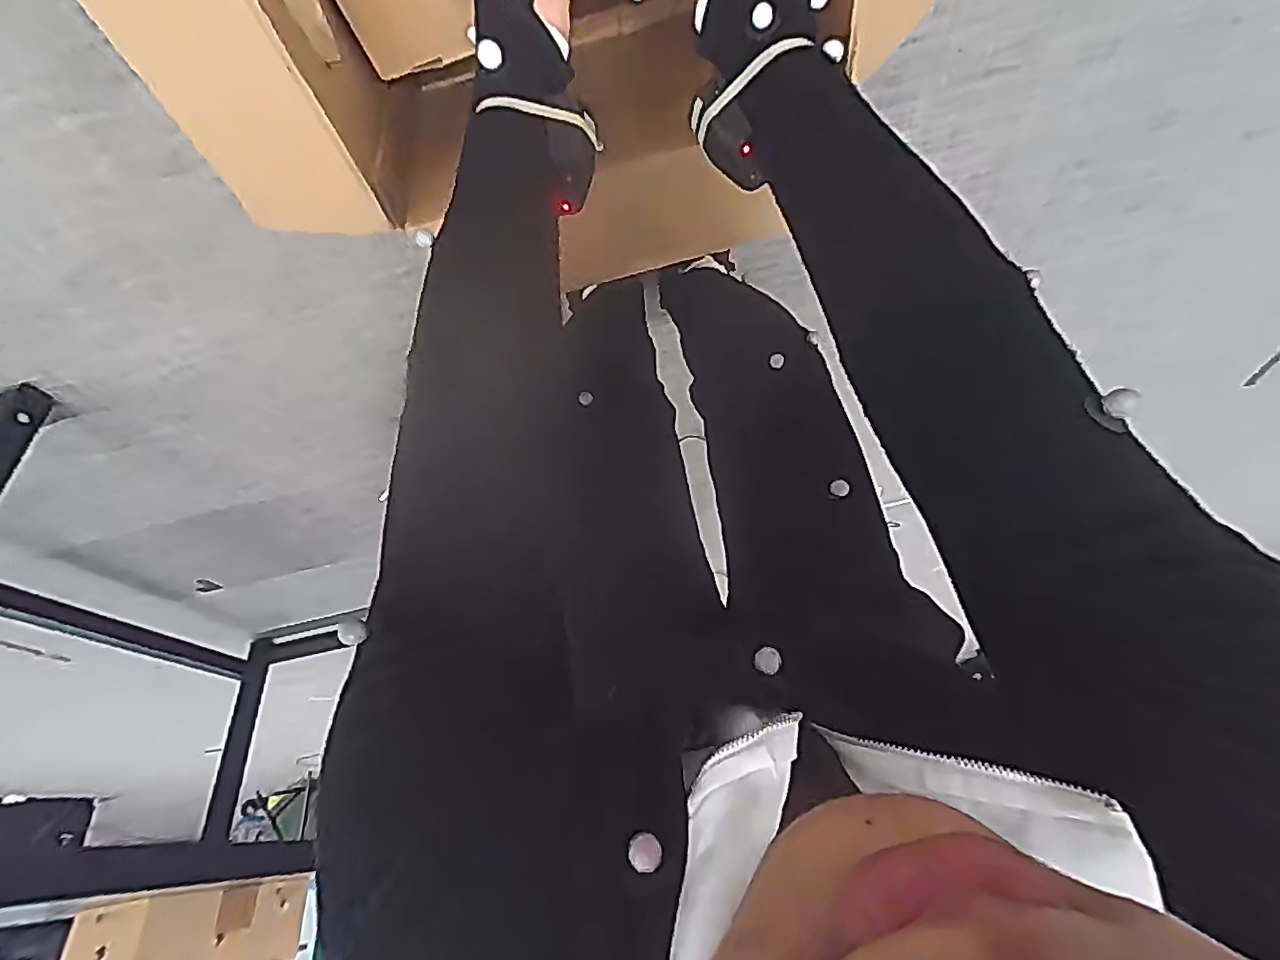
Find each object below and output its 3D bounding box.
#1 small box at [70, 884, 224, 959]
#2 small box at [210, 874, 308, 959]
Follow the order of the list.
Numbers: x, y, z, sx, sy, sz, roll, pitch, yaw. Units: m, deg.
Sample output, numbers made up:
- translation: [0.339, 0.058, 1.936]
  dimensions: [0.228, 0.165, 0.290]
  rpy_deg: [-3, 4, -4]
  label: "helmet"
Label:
- translation: [-1.010, 0.945, 1.103]
  dimensions: [0.168, 0.176, 0.179]
  rpy_deg: [-13, 146, 6]
  label: "small box"
- translation: [-0.956, 1.084, 1.325]
  dimensions: [0.179, 0.176, 0.168]
  rpy_deg: [-15, 146, 6]
  label: "small box"
